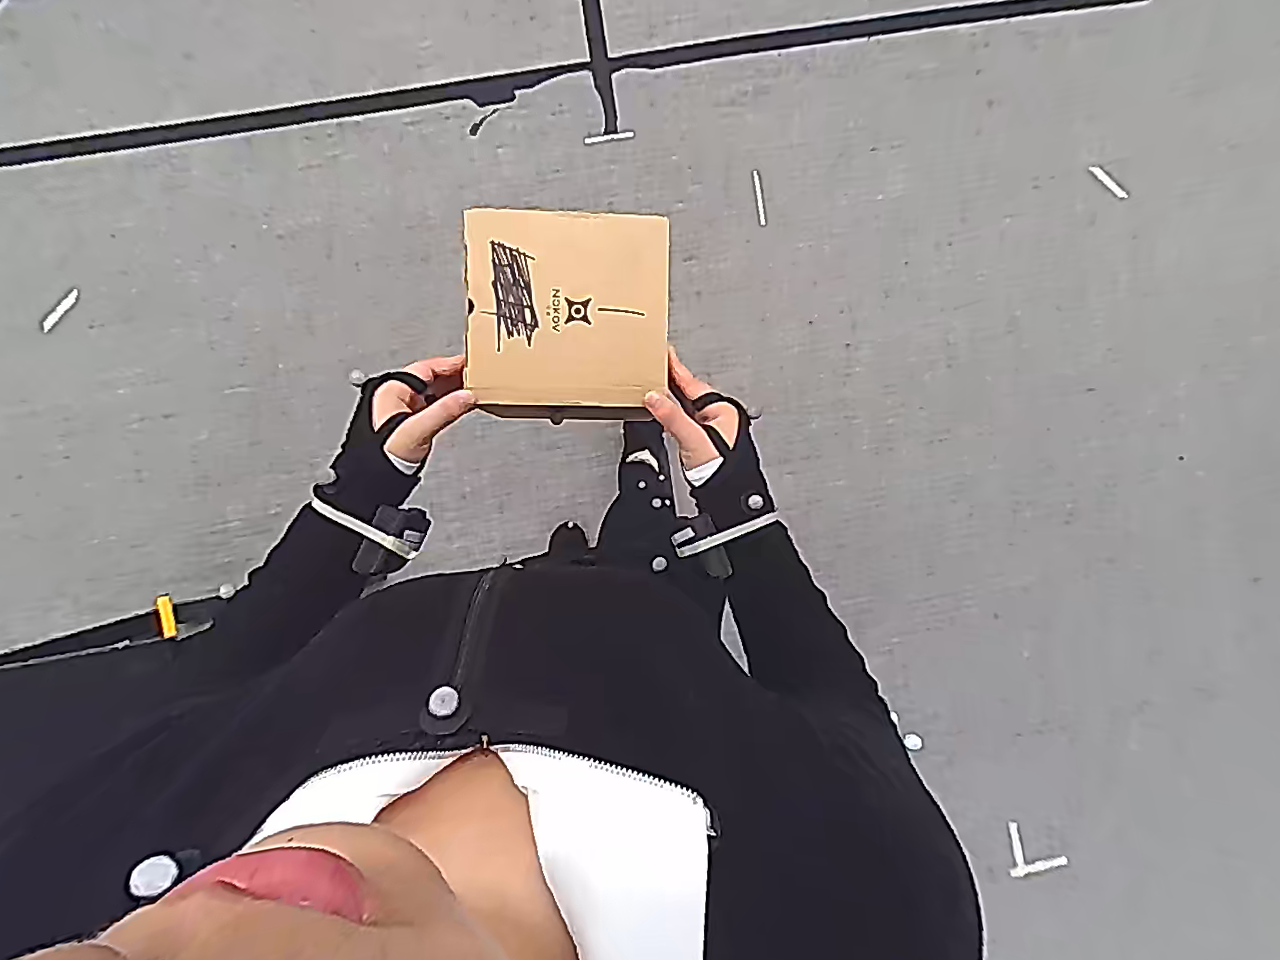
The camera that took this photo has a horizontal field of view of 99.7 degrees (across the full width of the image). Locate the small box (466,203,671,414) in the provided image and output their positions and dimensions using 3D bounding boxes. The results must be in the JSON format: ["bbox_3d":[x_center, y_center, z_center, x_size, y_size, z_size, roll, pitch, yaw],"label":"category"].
[{"bbox_3d":[-0.066,-0.155,0.544,0.179,0.176,0.168,0,93,-5],"label":"small box"}]
